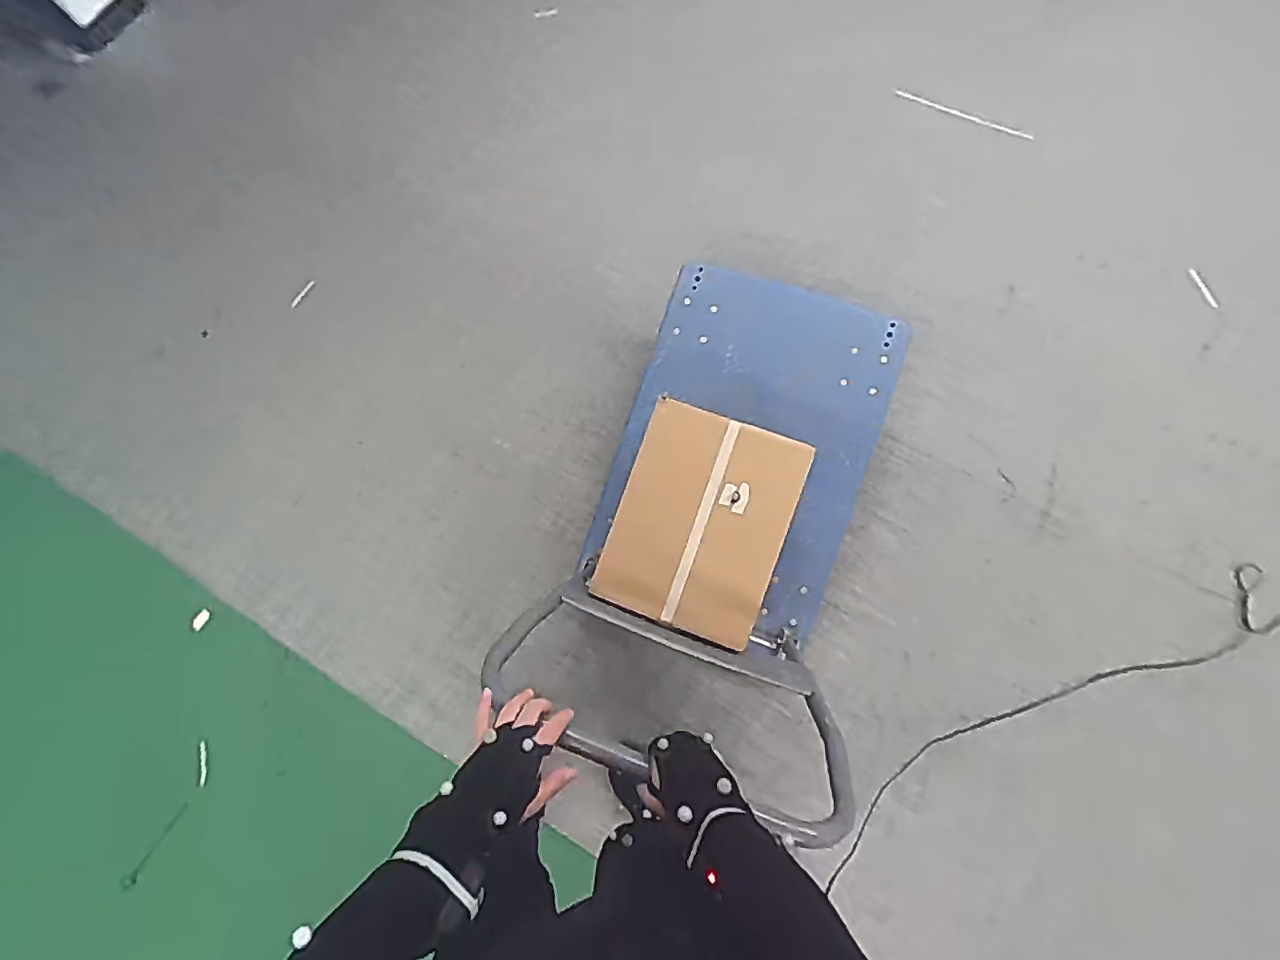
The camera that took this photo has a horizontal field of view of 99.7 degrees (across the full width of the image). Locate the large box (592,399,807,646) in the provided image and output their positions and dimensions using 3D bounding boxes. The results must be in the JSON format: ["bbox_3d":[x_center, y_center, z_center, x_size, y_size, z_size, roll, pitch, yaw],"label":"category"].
[{"bbox_3d":[0.128,0.089,1.174,0.320,0.320,0.408,19,88,7],"label":"large box"}]
